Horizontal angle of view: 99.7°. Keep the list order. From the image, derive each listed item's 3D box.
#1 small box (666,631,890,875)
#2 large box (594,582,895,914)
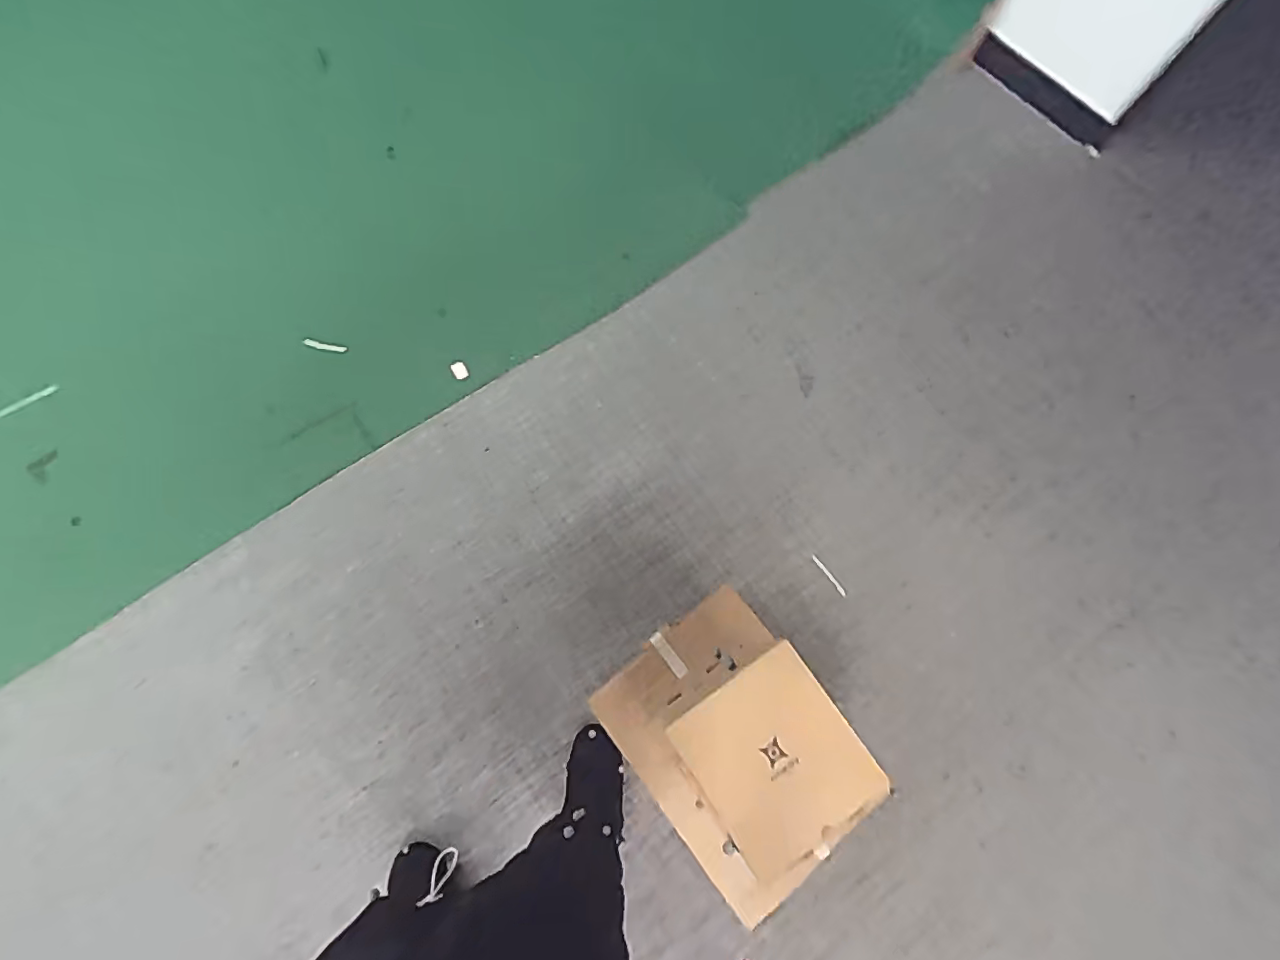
[{"bbox_3d":[0.142,0.299,0.634,0.168,0.176,0.179,-33,77,-9],"label":"small box"},{"bbox_3d":[0.162,0.452,1.013,0.320,0.320,0.408,-38,78,-9],"label":"large box"}]
